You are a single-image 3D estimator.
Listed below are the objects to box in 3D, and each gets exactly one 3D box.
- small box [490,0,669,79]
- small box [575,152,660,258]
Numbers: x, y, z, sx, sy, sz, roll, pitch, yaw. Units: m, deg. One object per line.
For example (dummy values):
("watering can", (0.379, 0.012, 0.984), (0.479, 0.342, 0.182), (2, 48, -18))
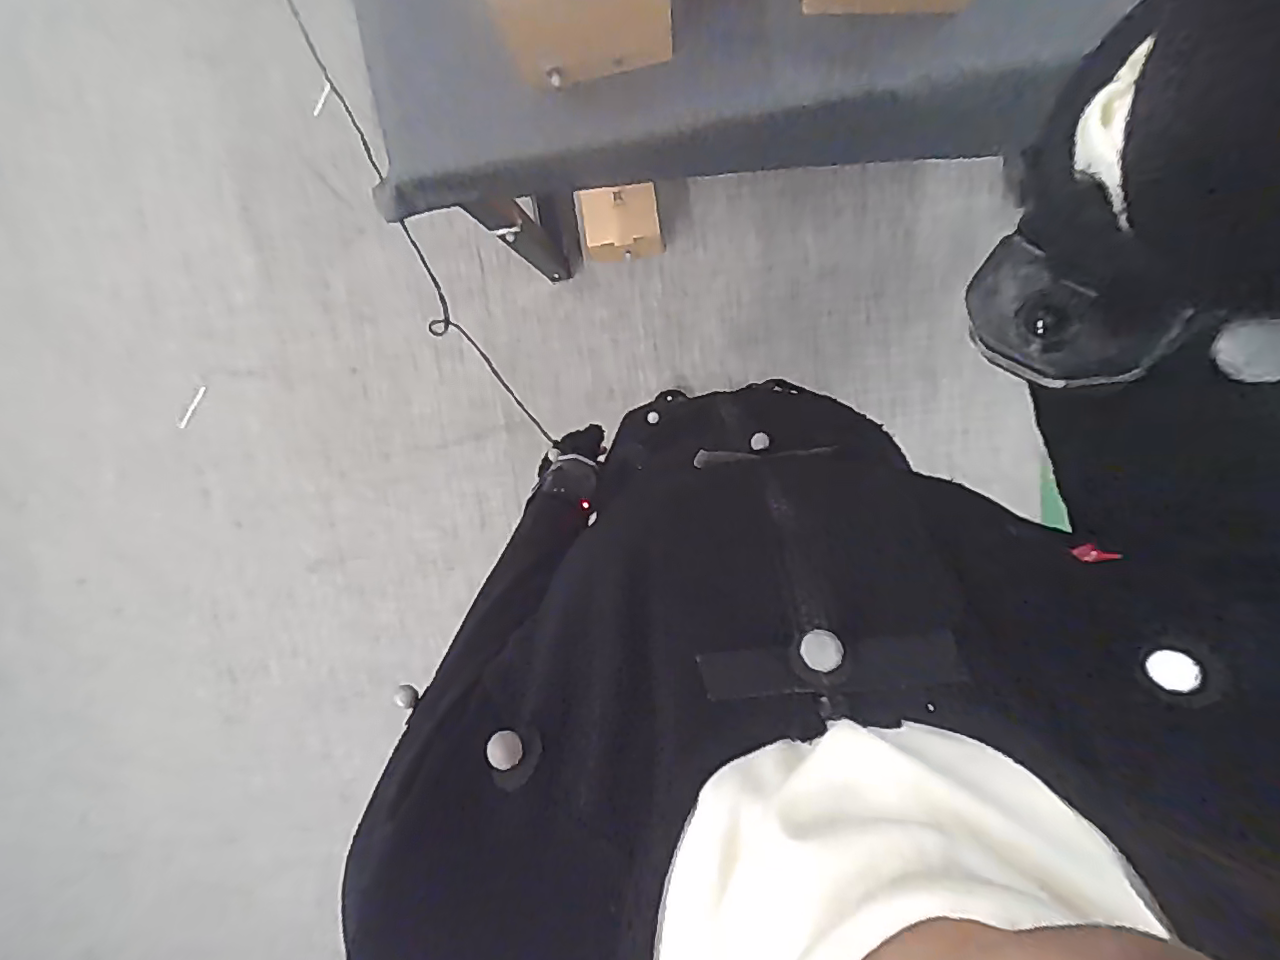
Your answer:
("small box", (-0.064, -0.540, 0.538), (0.168, 0.176, 0.179), (-9, 97, 5))
("small box", (-0.046, -0.630, 1.265), (0.168, 0.176, 0.179), (-7, 99, 5))
